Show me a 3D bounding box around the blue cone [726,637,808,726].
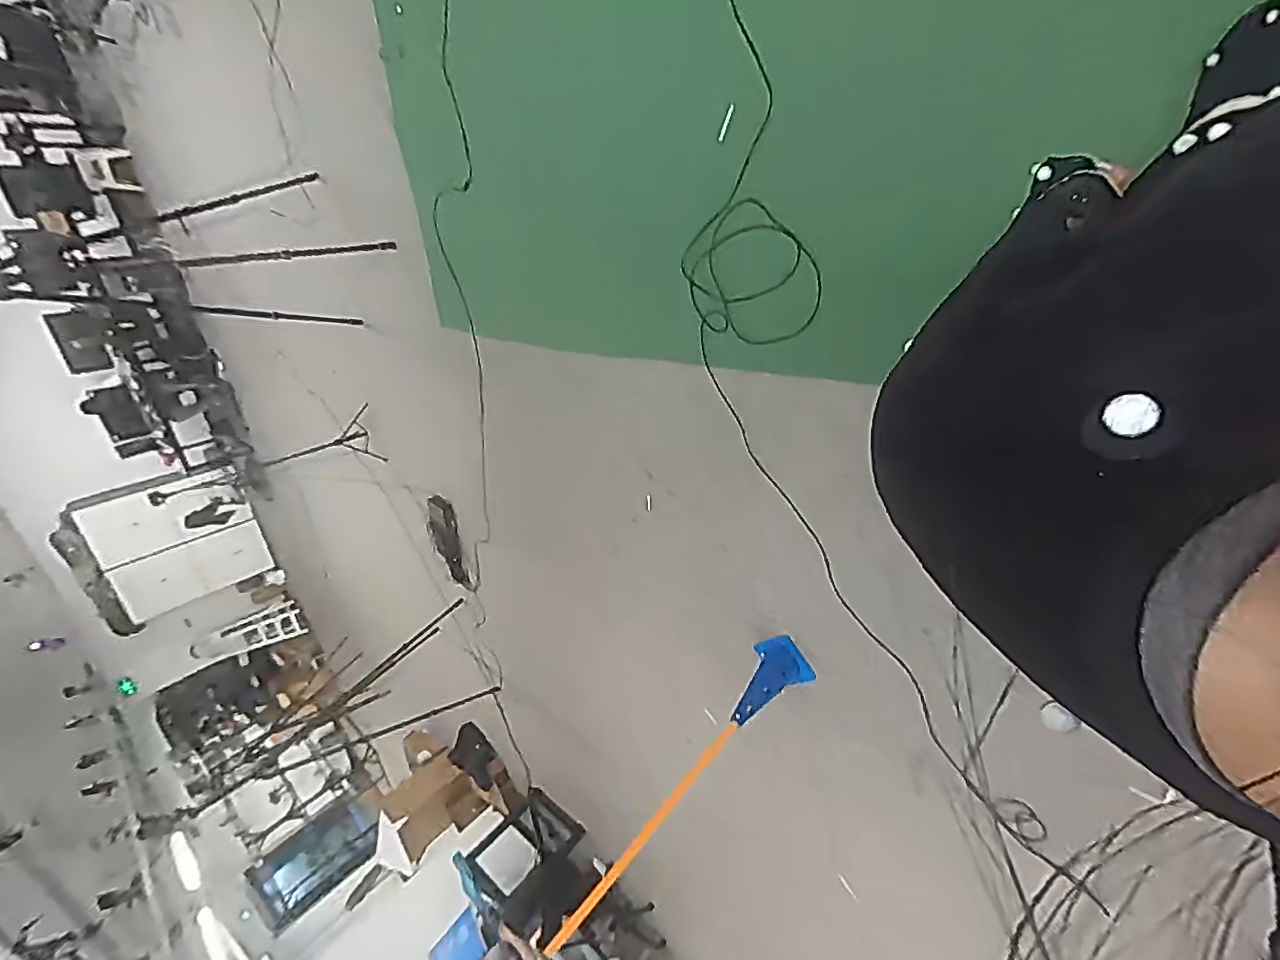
[{"bbox_3d":[0.438,0.773,1.993,0.192,0.380,0.193,53,140,6],"label":"blue cone"}]
